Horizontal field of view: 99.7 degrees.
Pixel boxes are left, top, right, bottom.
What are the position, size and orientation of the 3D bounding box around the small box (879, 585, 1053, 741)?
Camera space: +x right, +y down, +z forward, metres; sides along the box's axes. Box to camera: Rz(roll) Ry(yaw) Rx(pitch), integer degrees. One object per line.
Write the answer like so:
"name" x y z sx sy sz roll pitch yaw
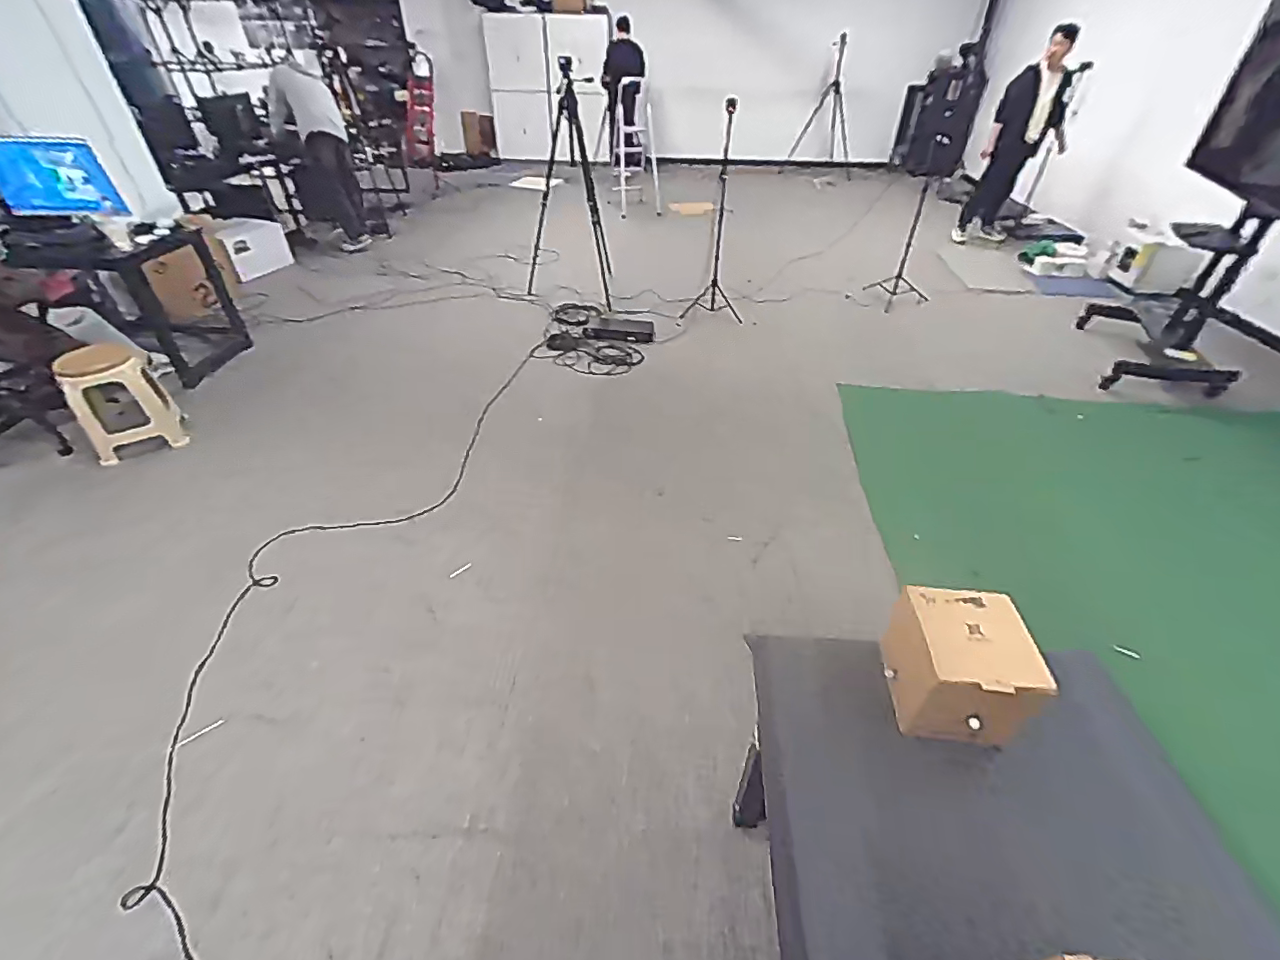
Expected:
"small box" 0.509 0.298 0.877 0.168 0.176 0.179 5 41 5
